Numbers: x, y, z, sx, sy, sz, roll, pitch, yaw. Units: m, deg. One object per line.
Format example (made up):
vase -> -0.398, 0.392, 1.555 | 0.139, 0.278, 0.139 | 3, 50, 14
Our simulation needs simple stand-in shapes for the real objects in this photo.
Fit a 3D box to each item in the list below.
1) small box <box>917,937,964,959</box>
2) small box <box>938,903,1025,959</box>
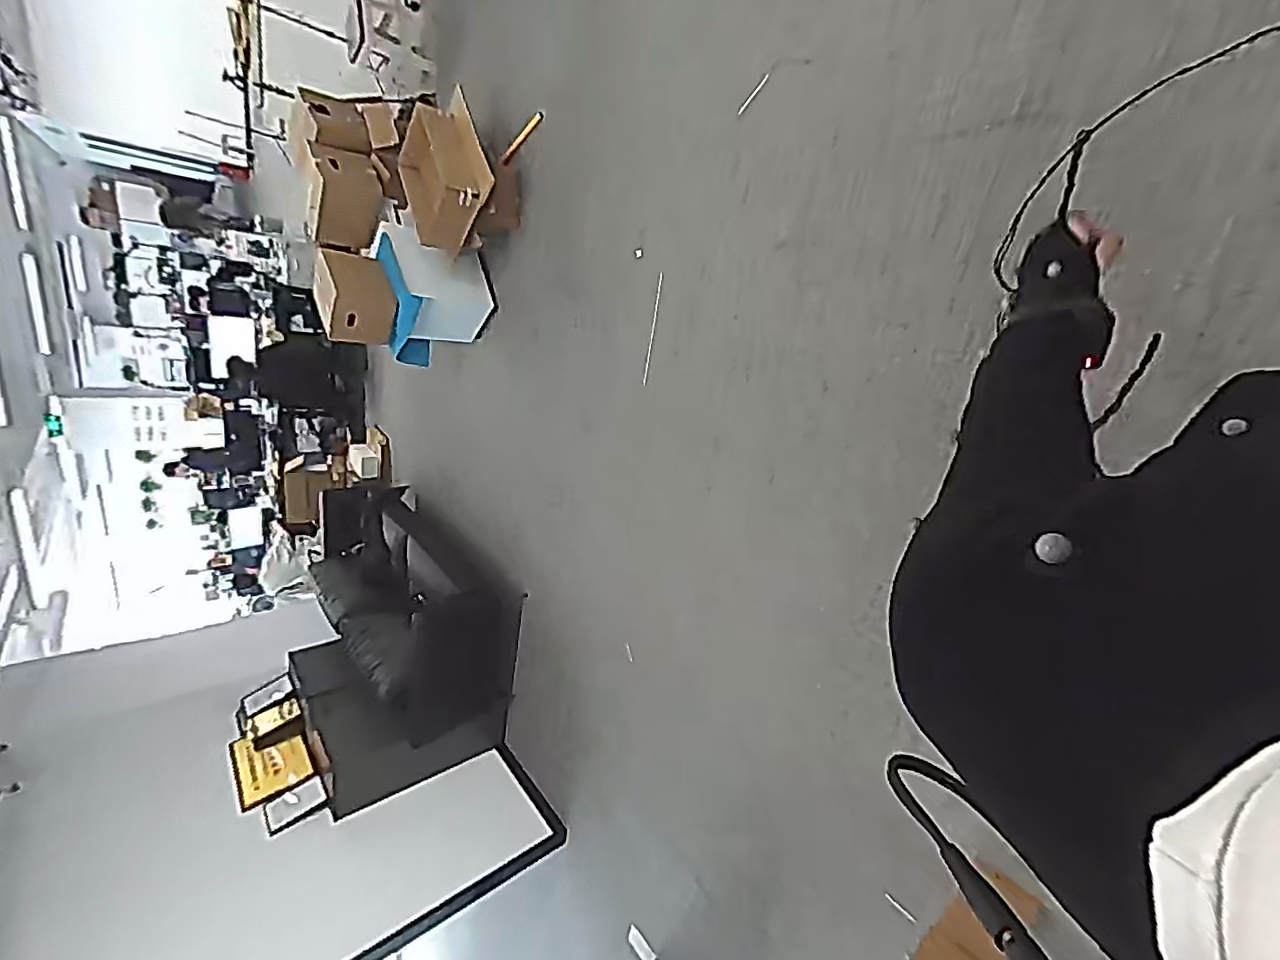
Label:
small box -> 0.710, 1.228, 1.248 | 0.179, 0.176, 0.168 | 27, 114, 44
small box -> 0.835, 1.227, 1.356 | 0.168, 0.176, 0.179 | 25, 114, 44
